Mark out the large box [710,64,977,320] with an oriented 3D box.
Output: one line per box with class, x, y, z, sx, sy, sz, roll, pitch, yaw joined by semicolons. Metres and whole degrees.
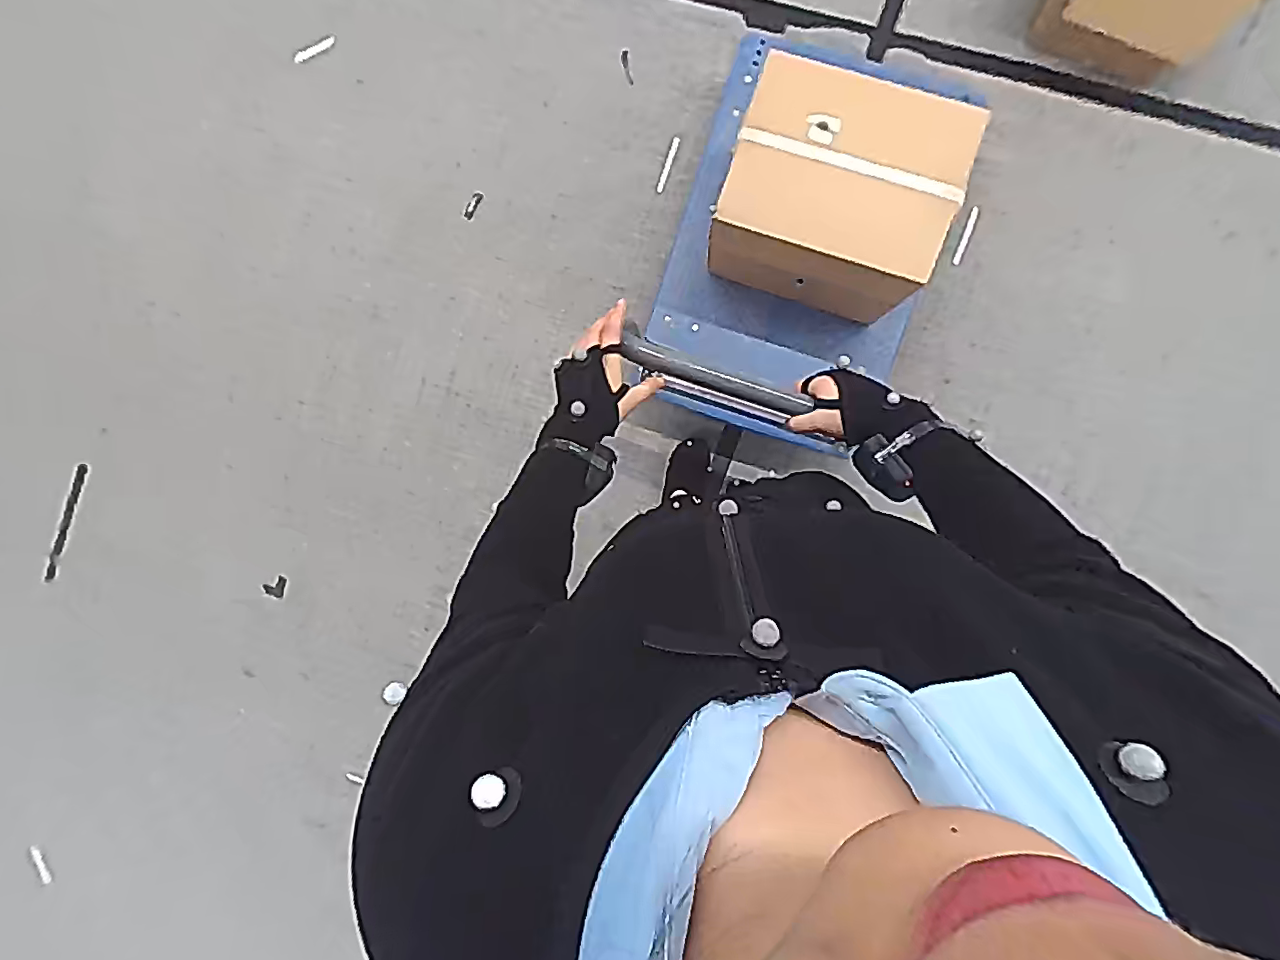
large box;0.386;-0.570;1.137;0.408;0.320;0.320;19;93;5
